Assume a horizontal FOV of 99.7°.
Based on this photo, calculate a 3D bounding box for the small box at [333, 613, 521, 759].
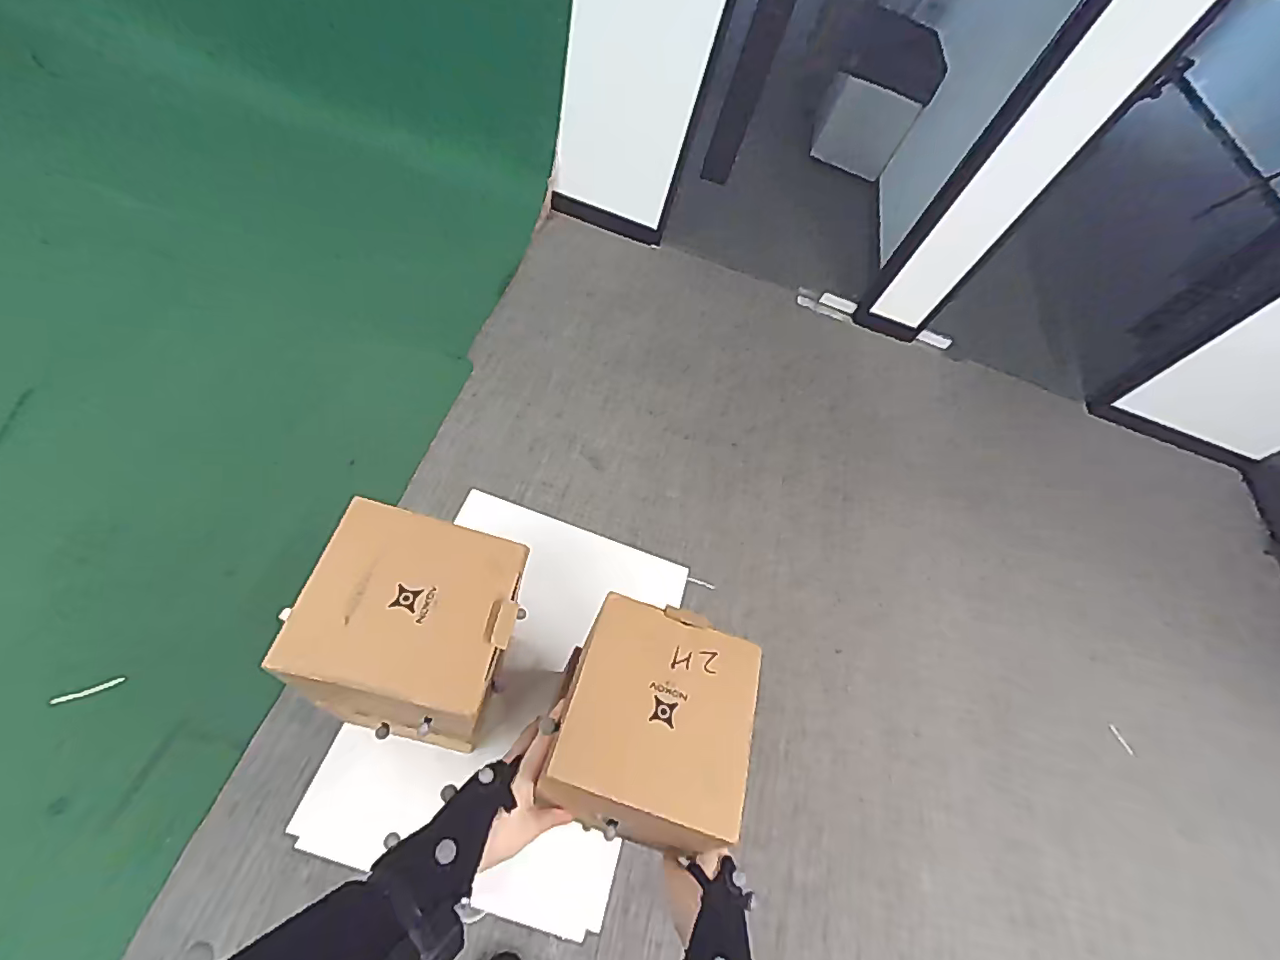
[{"bbox_3d":[-0.267,0.244,0.686,0.179,0.176,0.168,18,56,-7],"label":"small box"}]

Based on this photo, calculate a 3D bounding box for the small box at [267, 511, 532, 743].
[{"bbox_3d":[-0.224,0.160,0.552,0.179,0.176,0.168,17,55,-7],"label":"small box"}]

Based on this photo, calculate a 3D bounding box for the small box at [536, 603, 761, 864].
[{"bbox_3d":[0.004,0.260,0.544,0.168,0.176,0.179,21,49,-2],"label":"small box"}]
